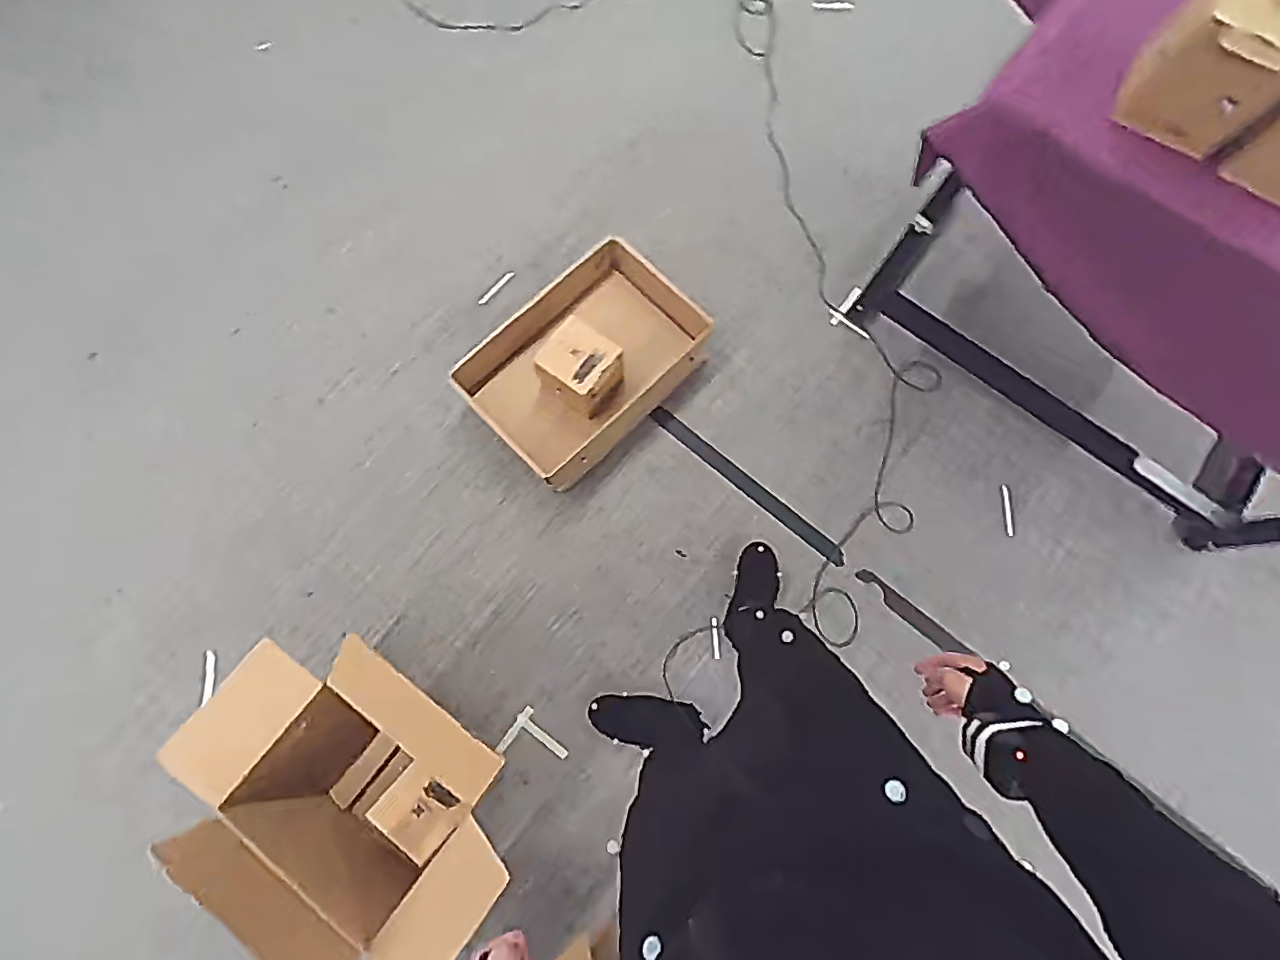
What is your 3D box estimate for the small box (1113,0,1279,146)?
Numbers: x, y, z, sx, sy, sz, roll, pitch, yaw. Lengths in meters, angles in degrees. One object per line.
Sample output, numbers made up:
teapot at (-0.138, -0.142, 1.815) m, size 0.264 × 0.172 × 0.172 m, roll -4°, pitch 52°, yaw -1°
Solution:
small box at (0.915, -0.684, 0.860) m, size 0.168 × 0.176 × 0.179 m, roll 30°, pitch 78°, yaw 5°
